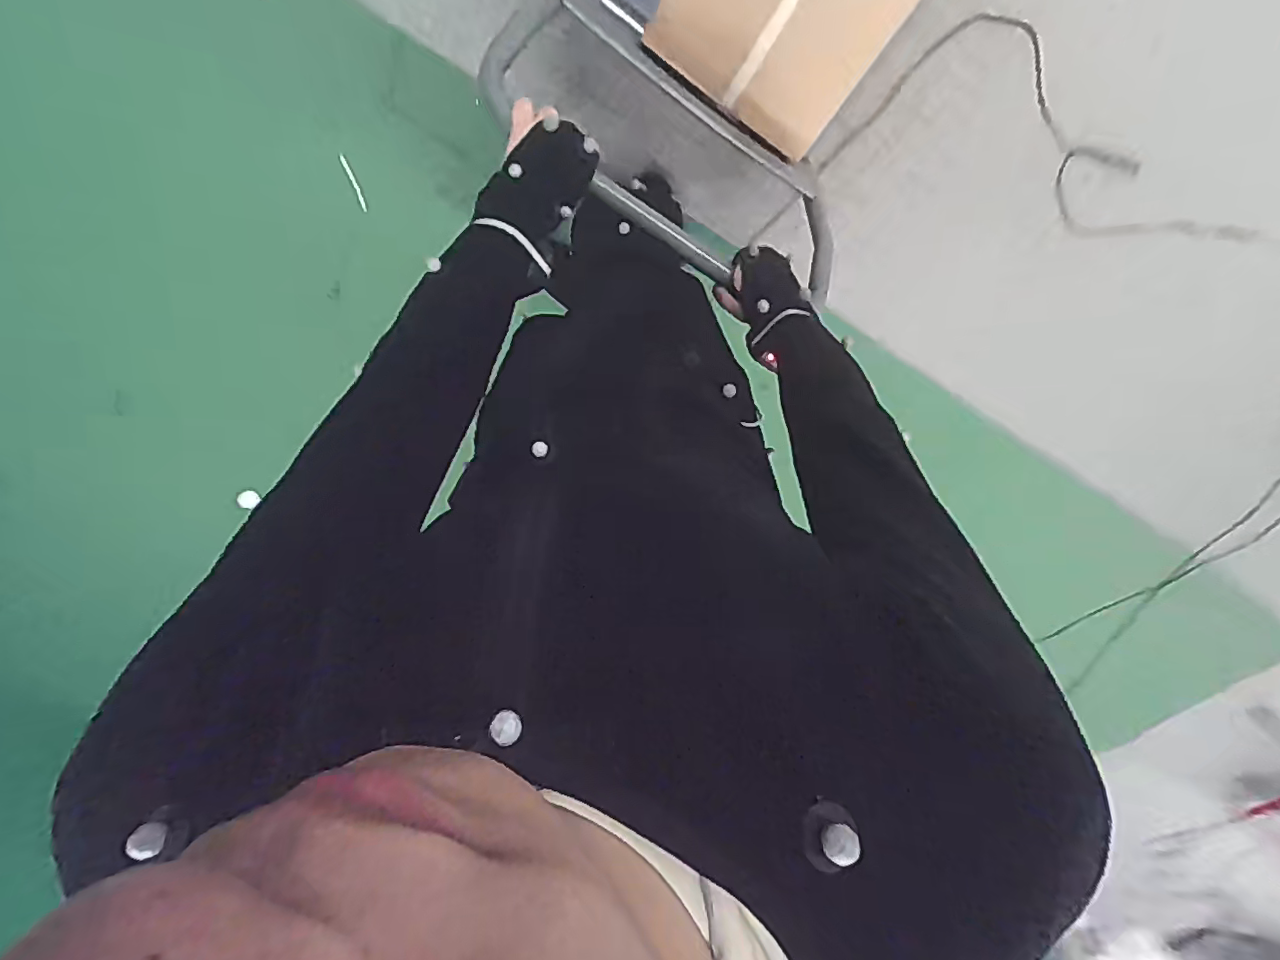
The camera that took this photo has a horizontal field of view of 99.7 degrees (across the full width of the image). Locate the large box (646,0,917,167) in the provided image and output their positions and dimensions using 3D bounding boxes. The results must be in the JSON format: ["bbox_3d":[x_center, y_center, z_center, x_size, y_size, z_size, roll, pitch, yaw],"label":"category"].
[{"bbox_3d":[0.248,-0.817,0.868,0.320,0.320,0.408,26,131,-19],"label":"large box"}]
